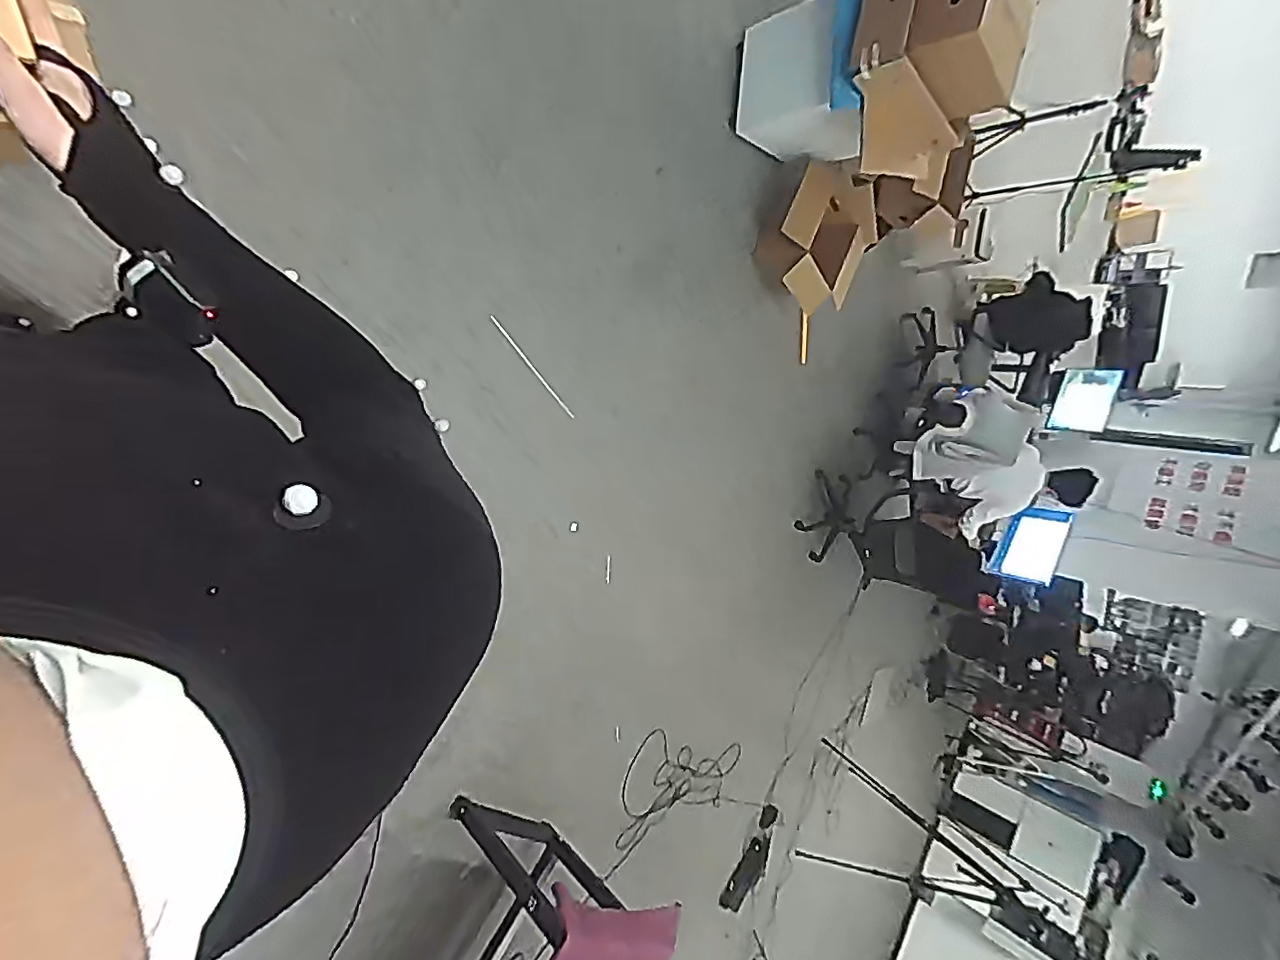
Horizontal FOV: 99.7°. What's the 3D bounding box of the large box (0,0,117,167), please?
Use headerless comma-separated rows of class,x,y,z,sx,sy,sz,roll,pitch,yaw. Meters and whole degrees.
large box,-1.136,-0.686,0.832,0.408,0.320,0.320,-24,117,-38

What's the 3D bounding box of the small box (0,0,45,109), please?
small box,-0.556,-0.374,0.367,0.179,0.176,0.168,-17,117,-37
